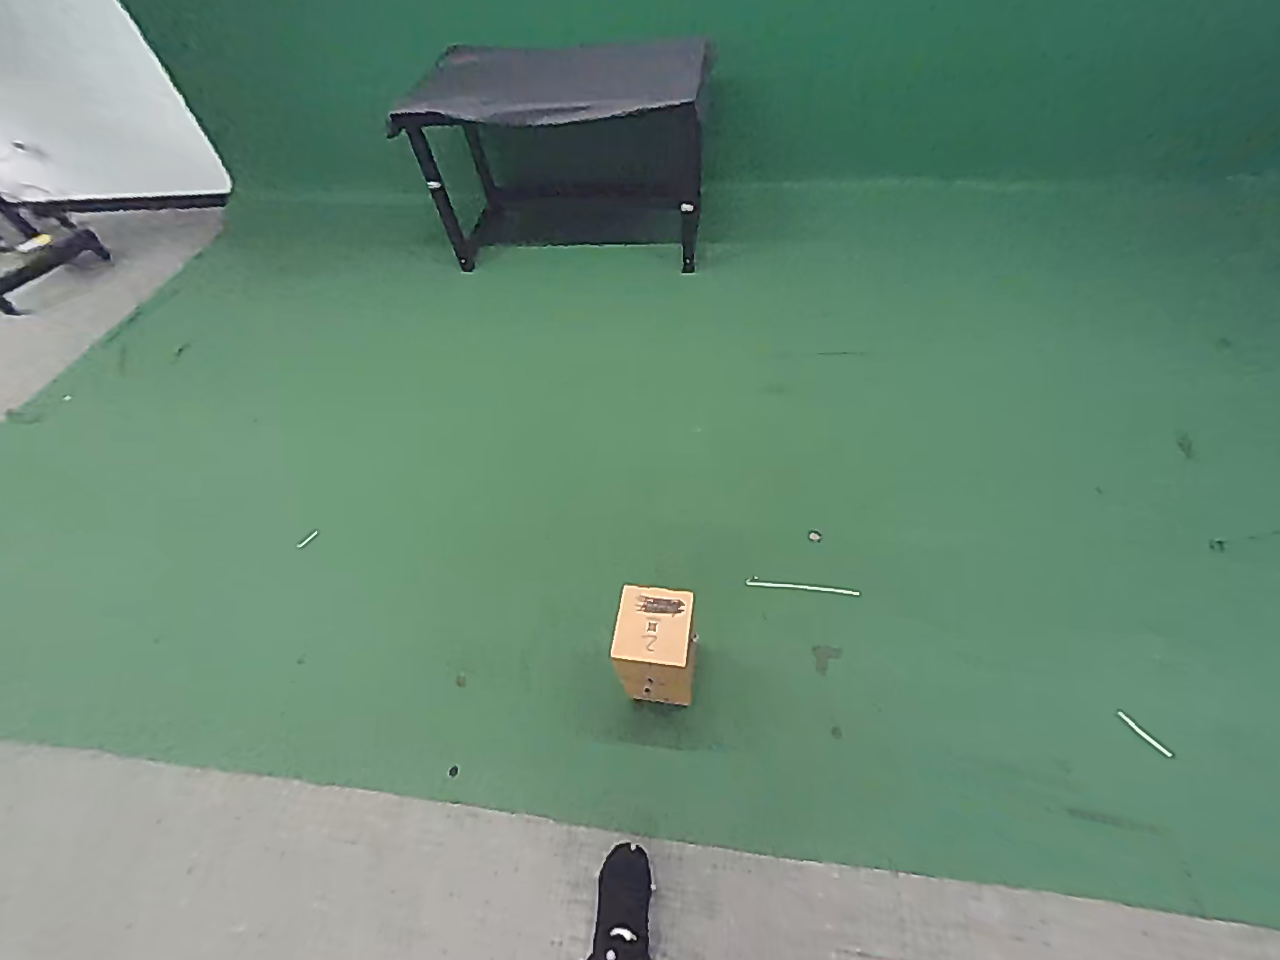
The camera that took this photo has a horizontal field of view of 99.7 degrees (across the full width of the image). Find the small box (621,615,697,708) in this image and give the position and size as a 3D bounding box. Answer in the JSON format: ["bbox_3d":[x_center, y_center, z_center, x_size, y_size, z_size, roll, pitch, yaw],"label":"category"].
[{"bbox_3d":[0.056,0.467,1.385,0.168,0.176,0.179,4,53,10],"label":"small box"}]
